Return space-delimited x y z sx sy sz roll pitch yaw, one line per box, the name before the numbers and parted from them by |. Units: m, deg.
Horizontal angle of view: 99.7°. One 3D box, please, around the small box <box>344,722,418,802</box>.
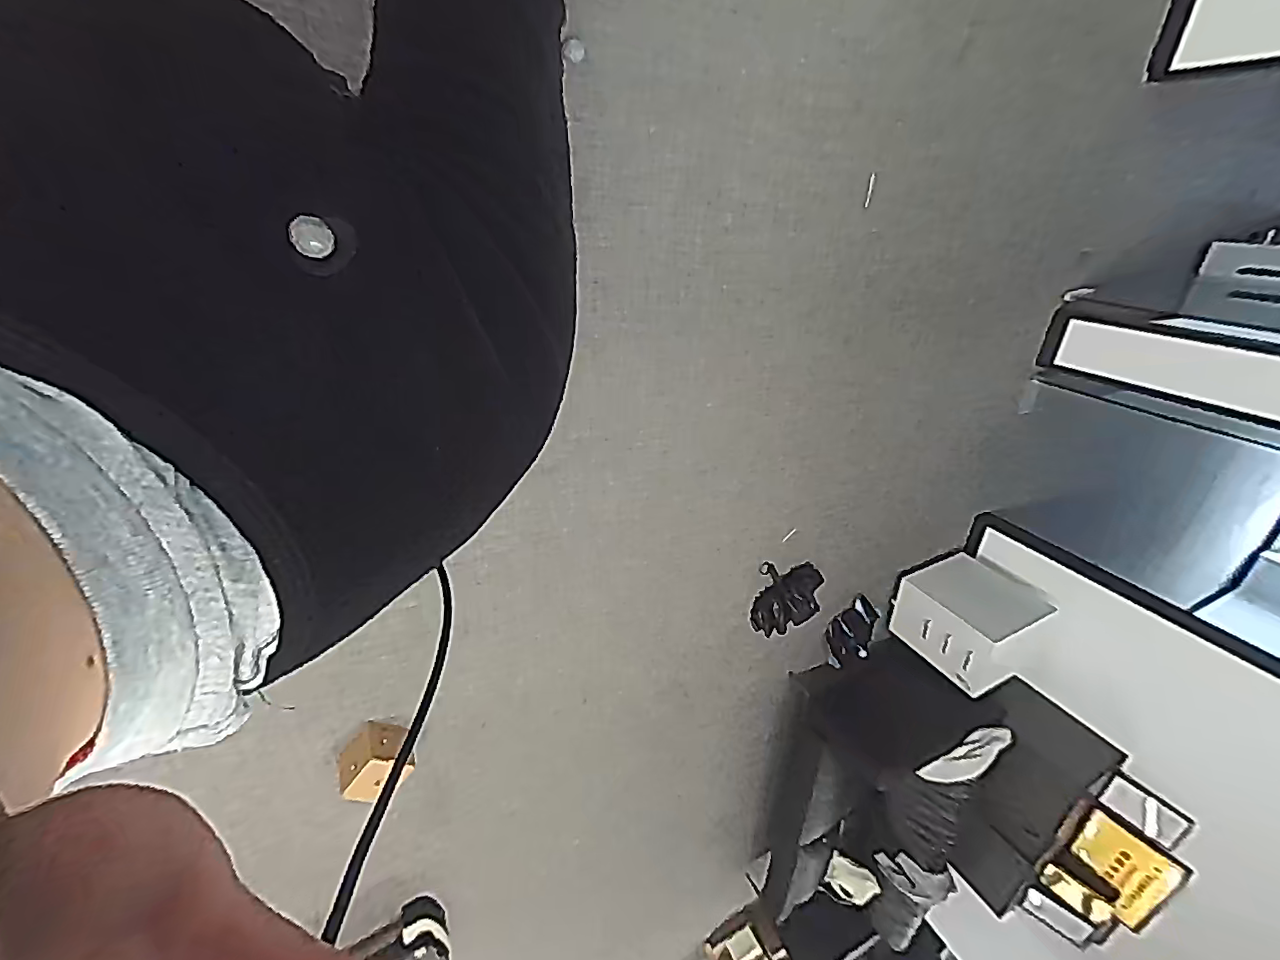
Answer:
small box | -0.907 0.978 1.879 0.168 0.176 0.179 36 95 -38
